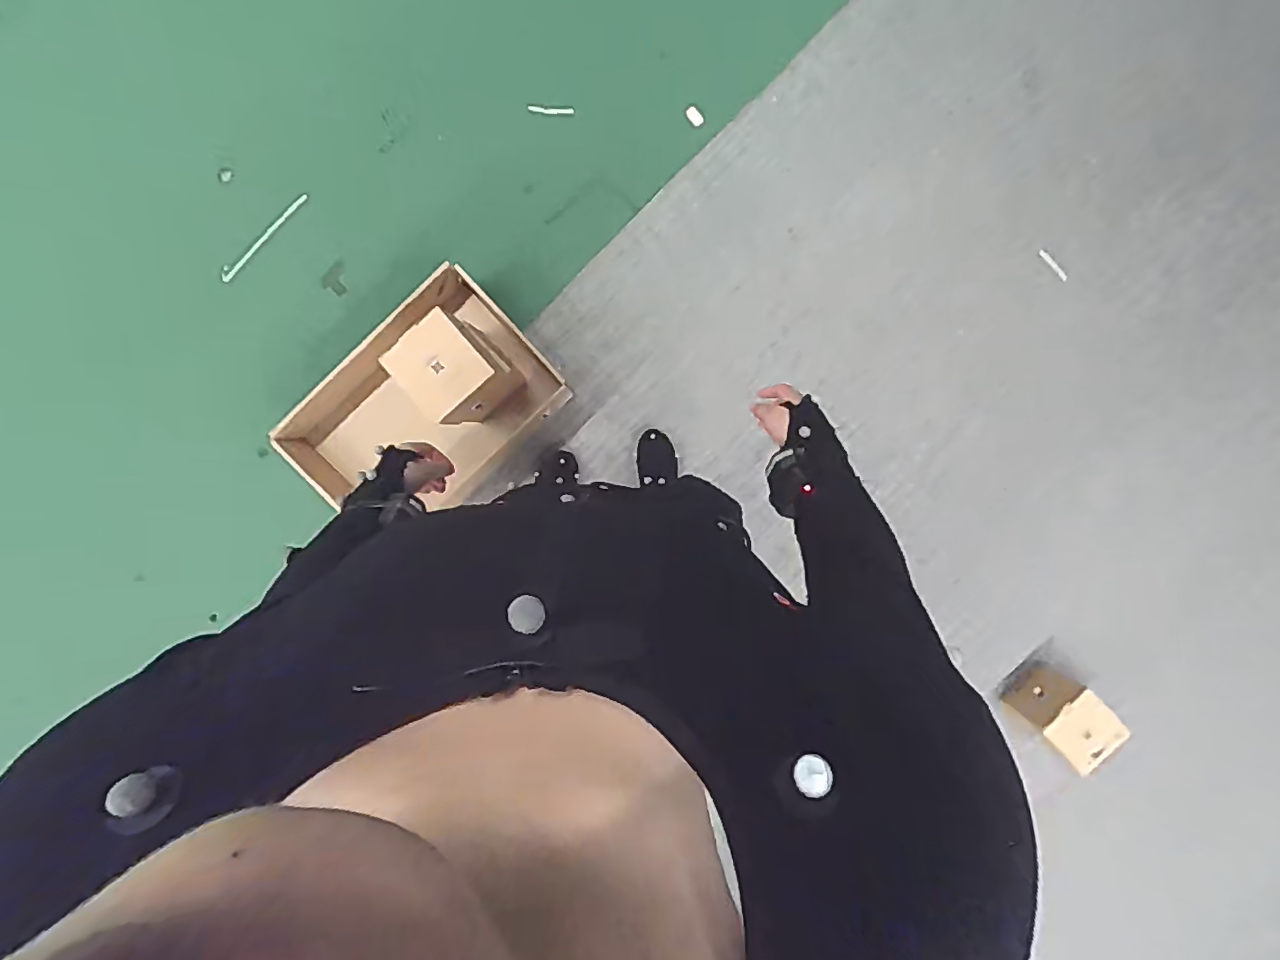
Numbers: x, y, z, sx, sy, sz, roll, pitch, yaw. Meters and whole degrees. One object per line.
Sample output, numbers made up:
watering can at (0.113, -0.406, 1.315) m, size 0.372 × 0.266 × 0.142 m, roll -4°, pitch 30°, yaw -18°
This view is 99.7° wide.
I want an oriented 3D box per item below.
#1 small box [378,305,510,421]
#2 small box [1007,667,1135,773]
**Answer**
small box at (-0.407, -0.239, 1.155) m, size 0.168 × 0.176 × 0.179 m, roll -41°, pitch 96°, yaw 3°
small box at (1.151, 0.634, 1.461) m, size 0.168 × 0.176 × 0.179 m, roll -44°, pitch 93°, yaw 2°
